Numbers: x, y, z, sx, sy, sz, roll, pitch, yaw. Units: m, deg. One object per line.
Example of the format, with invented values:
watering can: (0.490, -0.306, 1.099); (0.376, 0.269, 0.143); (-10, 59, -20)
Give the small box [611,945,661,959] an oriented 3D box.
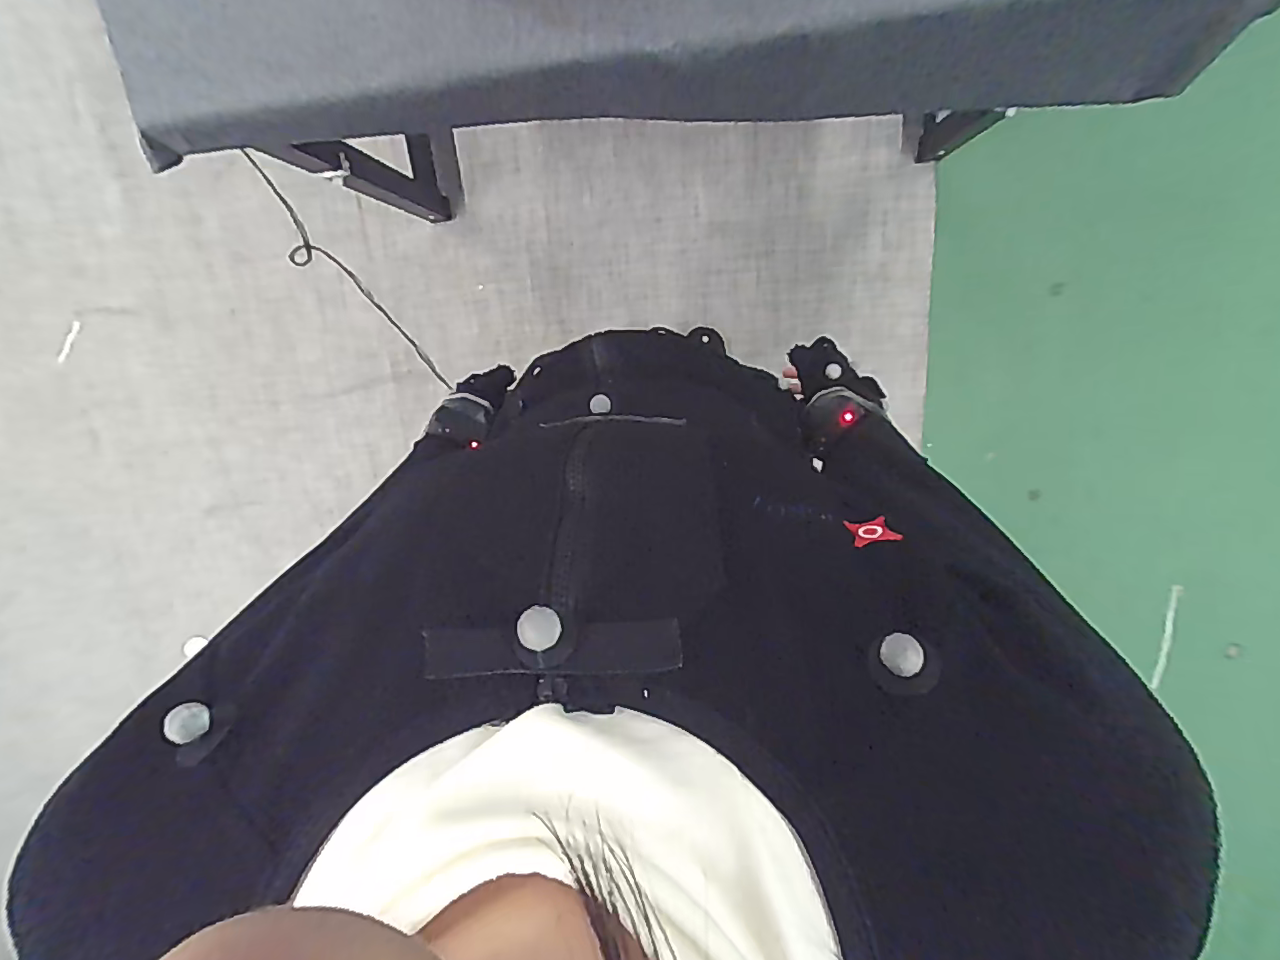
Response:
small box: (-0.015, 1.759, 1.873); (0.179, 0.176, 0.168); (-4, 106, 4)
